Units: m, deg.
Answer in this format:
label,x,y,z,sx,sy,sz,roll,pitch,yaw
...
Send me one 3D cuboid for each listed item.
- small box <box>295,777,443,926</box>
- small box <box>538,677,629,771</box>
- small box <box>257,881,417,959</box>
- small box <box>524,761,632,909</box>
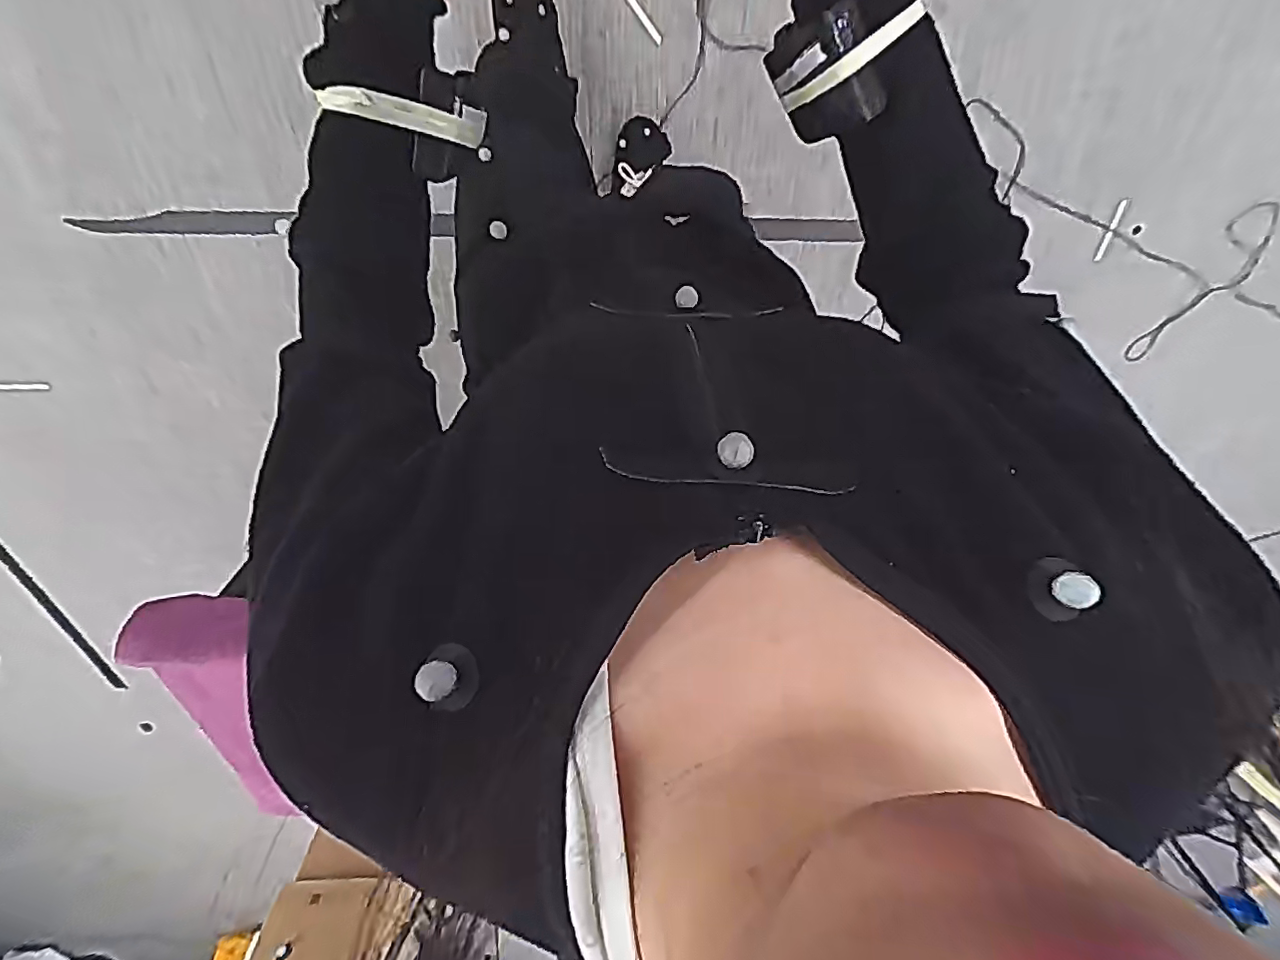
label,x,y,z,sx,sy,sz,roll,pitch,yaw
small box,-0.457,0.647,0.946,0.168,0.176,0.179,1,124,-4
small box,-0.107,0.507,1.066,0.168,0.176,0.179,0,125,-2
small box,-0.452,0.720,0.799,0.168,0.176,0.179,-1,125,-1
small box,-0.100,0.606,0.935,0.168,0.176,0.179,-2,125,-1
